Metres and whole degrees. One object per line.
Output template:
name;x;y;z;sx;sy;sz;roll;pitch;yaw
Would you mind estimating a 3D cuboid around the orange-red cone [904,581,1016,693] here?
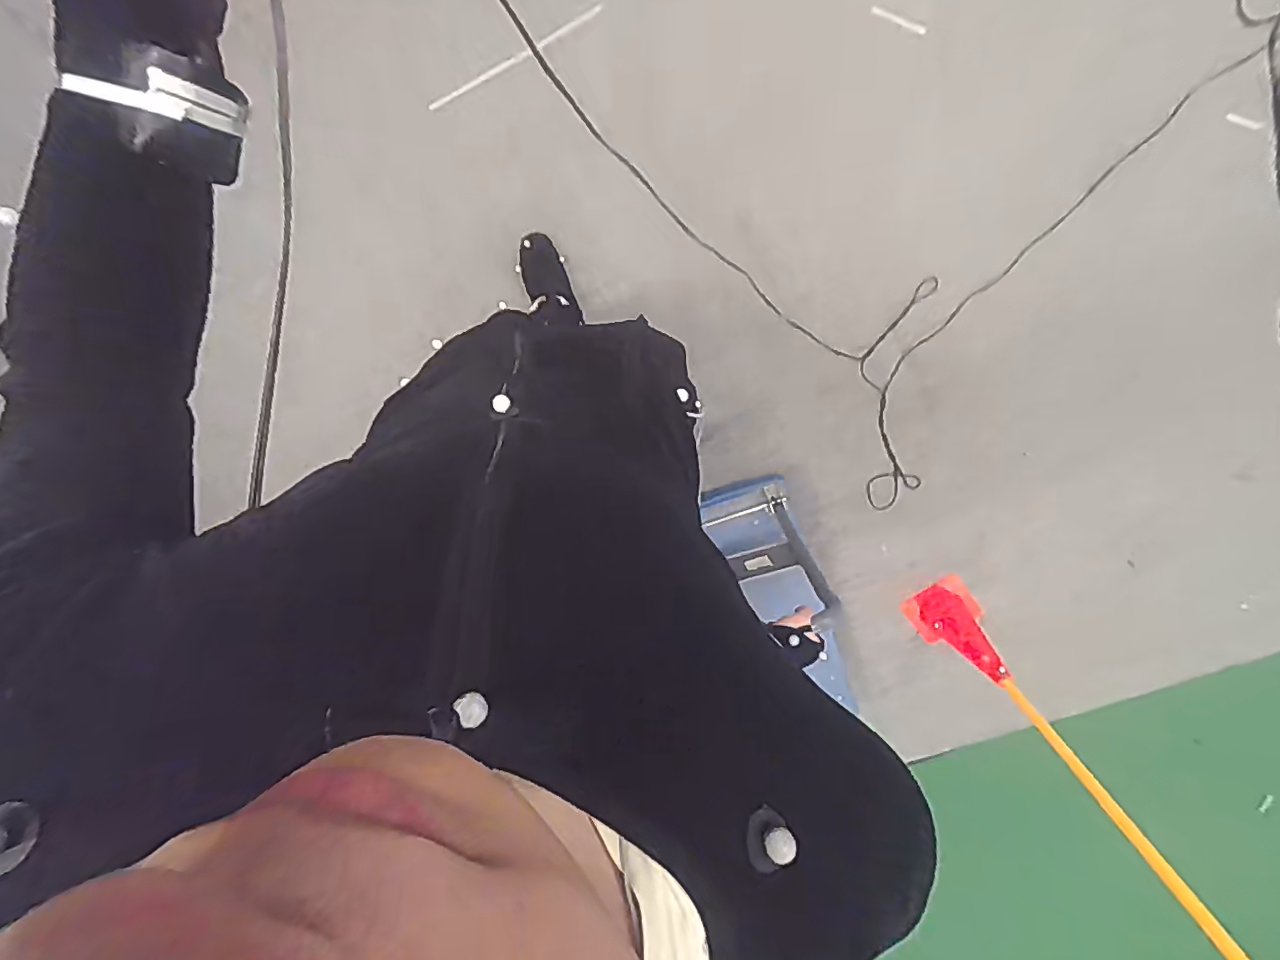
orange-red cone;0.985;0.492;1.604;0.199;0.360;0.198;-37;105;12
